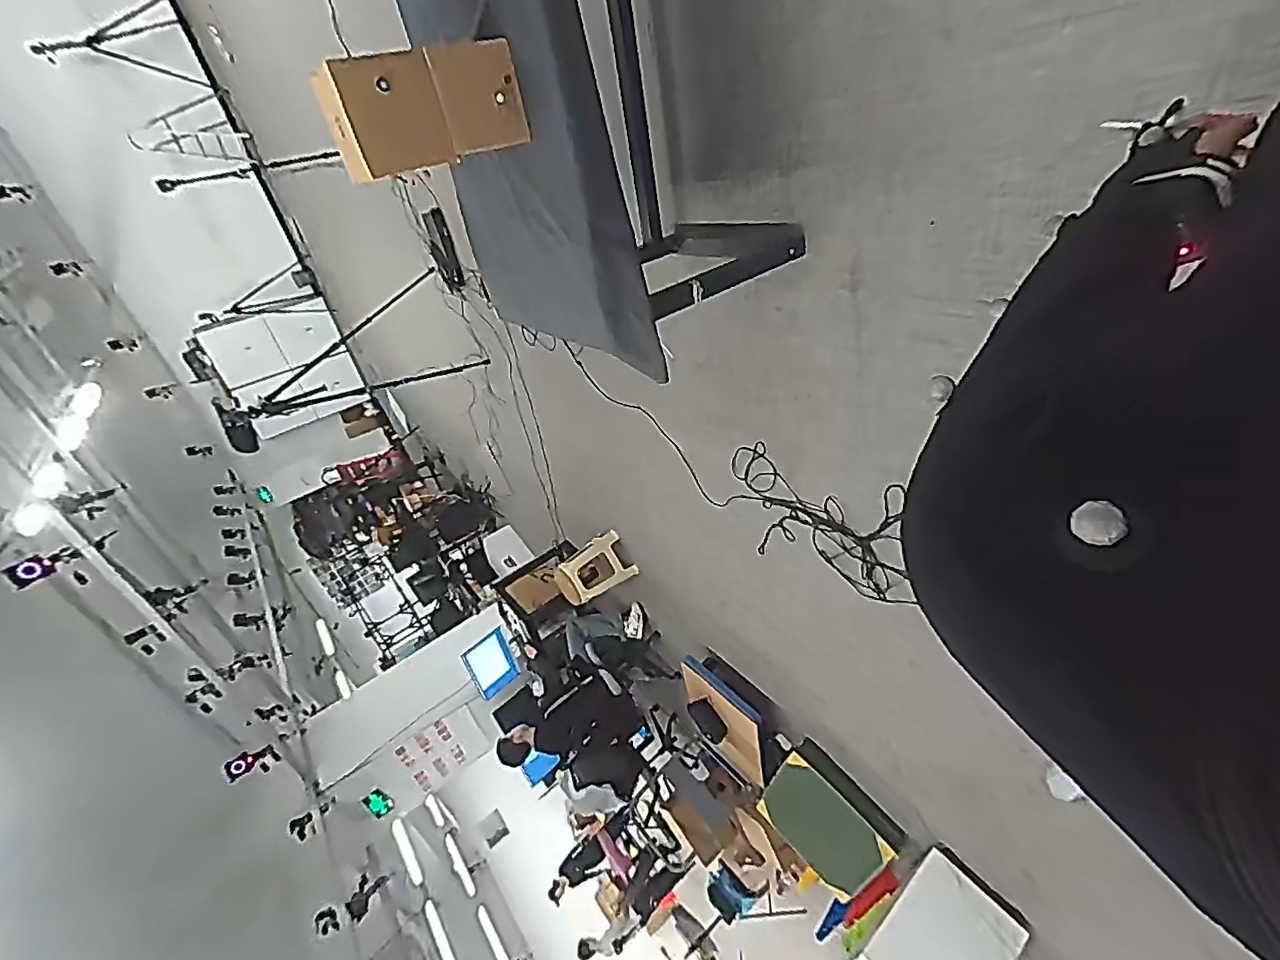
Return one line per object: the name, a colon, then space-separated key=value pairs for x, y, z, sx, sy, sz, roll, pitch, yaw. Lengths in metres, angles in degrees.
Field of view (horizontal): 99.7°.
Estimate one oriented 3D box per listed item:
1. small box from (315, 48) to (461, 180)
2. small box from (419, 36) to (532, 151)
small box: x=-0.463 y=-0.679 z=1.007 sx=0.168 sy=0.176 sz=0.179 roll=29 pitch=142 yaw=47
small box: x=-0.340 y=-0.759 z=1.076 sx=0.179 sy=0.176 sz=0.168 roll=29 pitch=141 yaw=45
